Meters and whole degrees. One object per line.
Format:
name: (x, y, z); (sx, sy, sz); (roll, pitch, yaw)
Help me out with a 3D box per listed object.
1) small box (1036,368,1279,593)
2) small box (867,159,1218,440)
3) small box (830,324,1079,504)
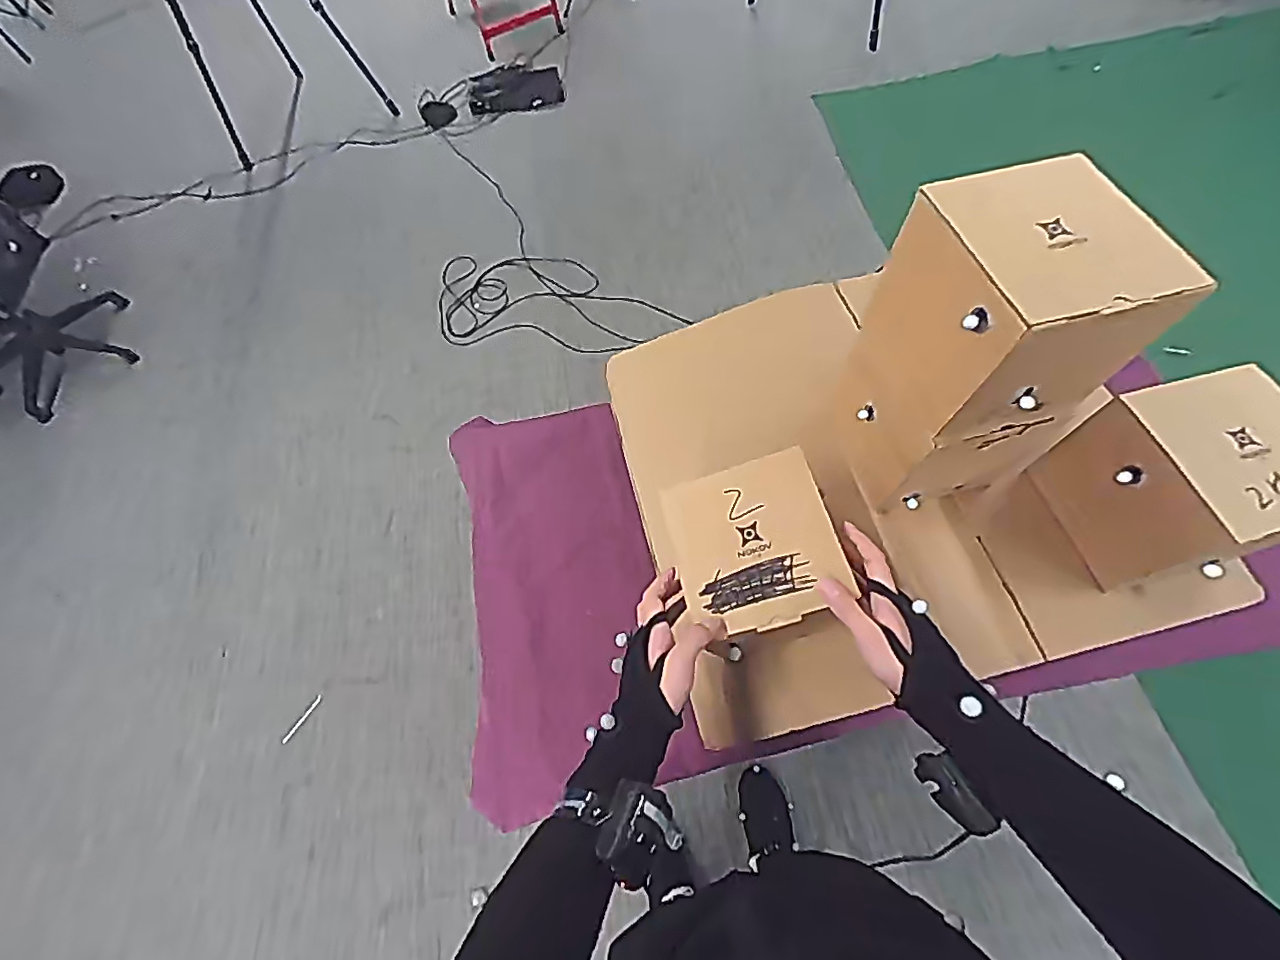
small box: (0.602, 0.007, 0.604); (0.168, 0.176, 0.179); (-13, 63, -4)
small box: (0.350, -0.166, 0.518); (0.168, 0.176, 0.179); (-13, 64, -6)
small box: (0.358, -0.085, 0.658); (0.168, 0.176, 0.179); (-13, 62, -6)
